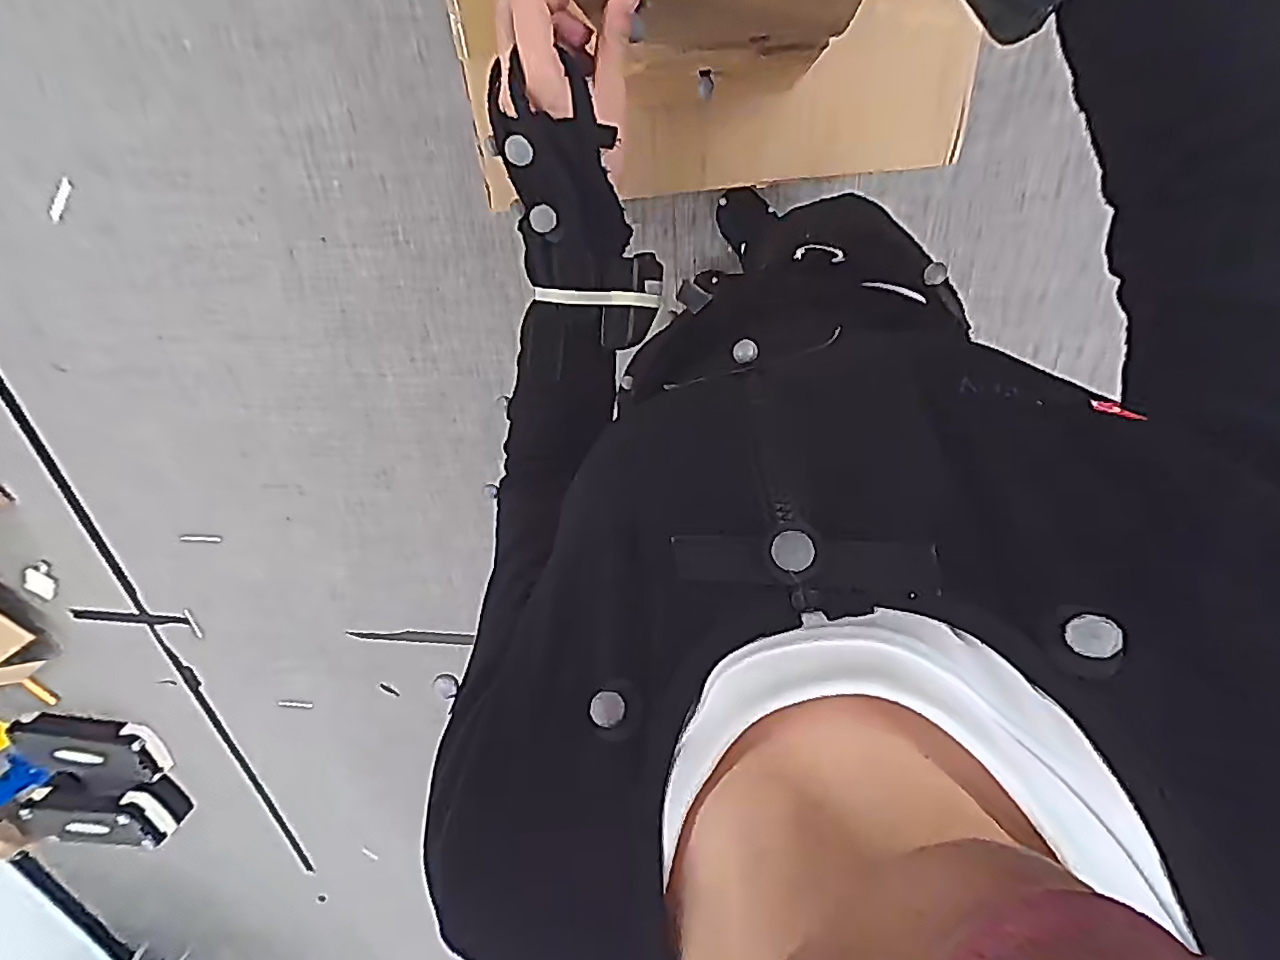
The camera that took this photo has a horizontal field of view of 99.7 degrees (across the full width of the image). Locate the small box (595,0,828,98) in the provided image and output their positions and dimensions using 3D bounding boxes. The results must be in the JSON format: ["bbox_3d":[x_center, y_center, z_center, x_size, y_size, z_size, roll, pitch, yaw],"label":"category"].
[{"bbox_3d":[0.058,-0.437,0.454,0.179,0.176,0.168,-1,118,9],"label":"small box"}]
